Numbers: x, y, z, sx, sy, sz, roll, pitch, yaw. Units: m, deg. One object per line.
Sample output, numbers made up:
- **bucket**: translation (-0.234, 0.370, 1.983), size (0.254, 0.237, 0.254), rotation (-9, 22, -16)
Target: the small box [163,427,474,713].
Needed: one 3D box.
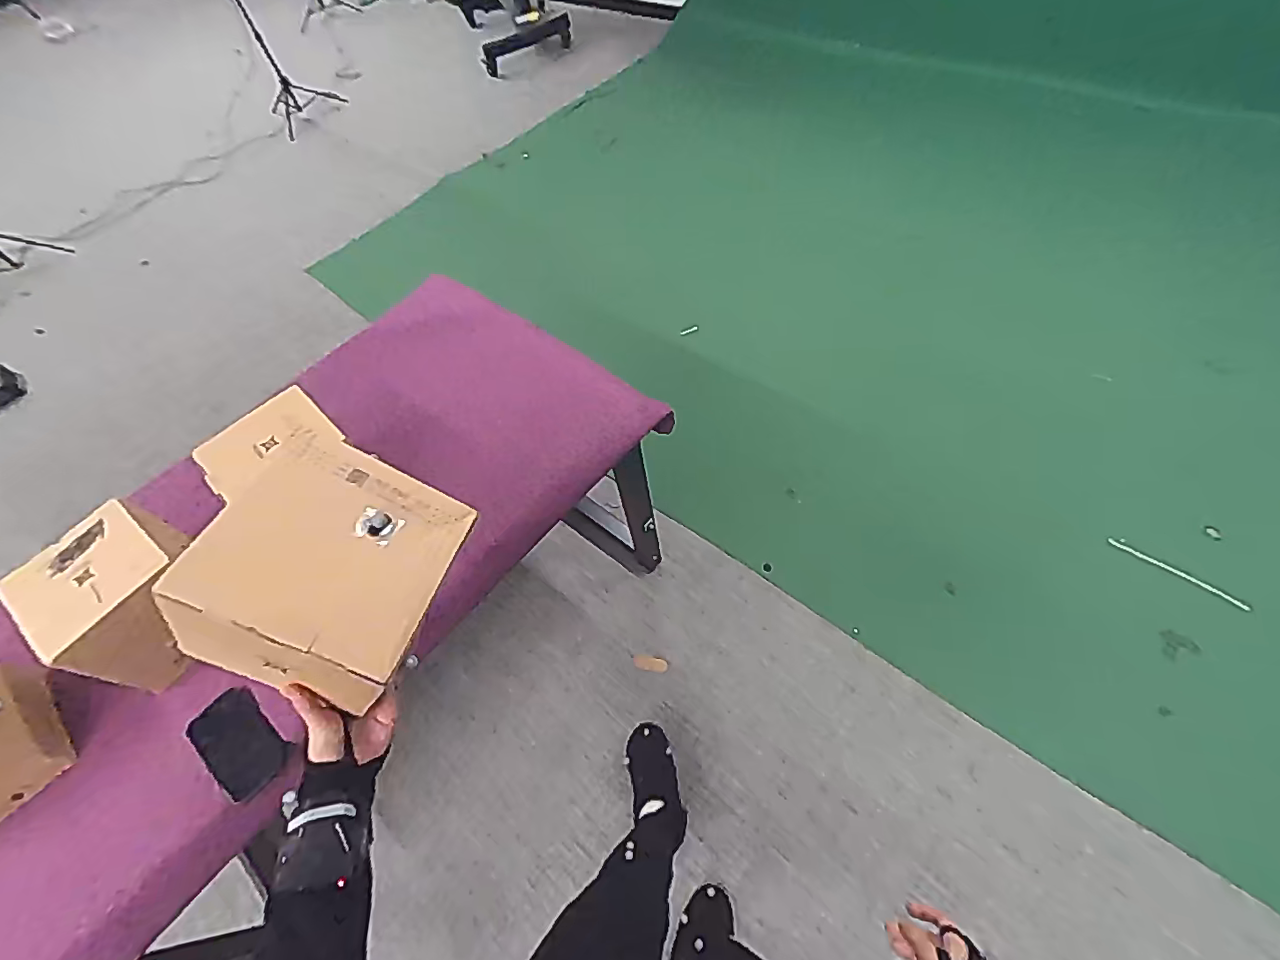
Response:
- **small box**: translation (-0.277, 0.087, 0.498), size (0.168, 0.179, 0.176), rotation (30, 48, -14)

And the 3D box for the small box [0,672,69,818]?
- **small box**: translation (-0.885, 0.347, 0.672), size (0.179, 0.176, 0.168), rotation (36, 68, 25)

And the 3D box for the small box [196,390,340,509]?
- **small box**: translation (-0.531, 0.000, 0.856), size (0.168, 0.176, 0.179), rotation (38, 69, 26)

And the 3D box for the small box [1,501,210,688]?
- **small box**: translation (-0.709, 0.168, 0.767), size (0.179, 0.176, 0.168), rotation (31, 66, 23)
